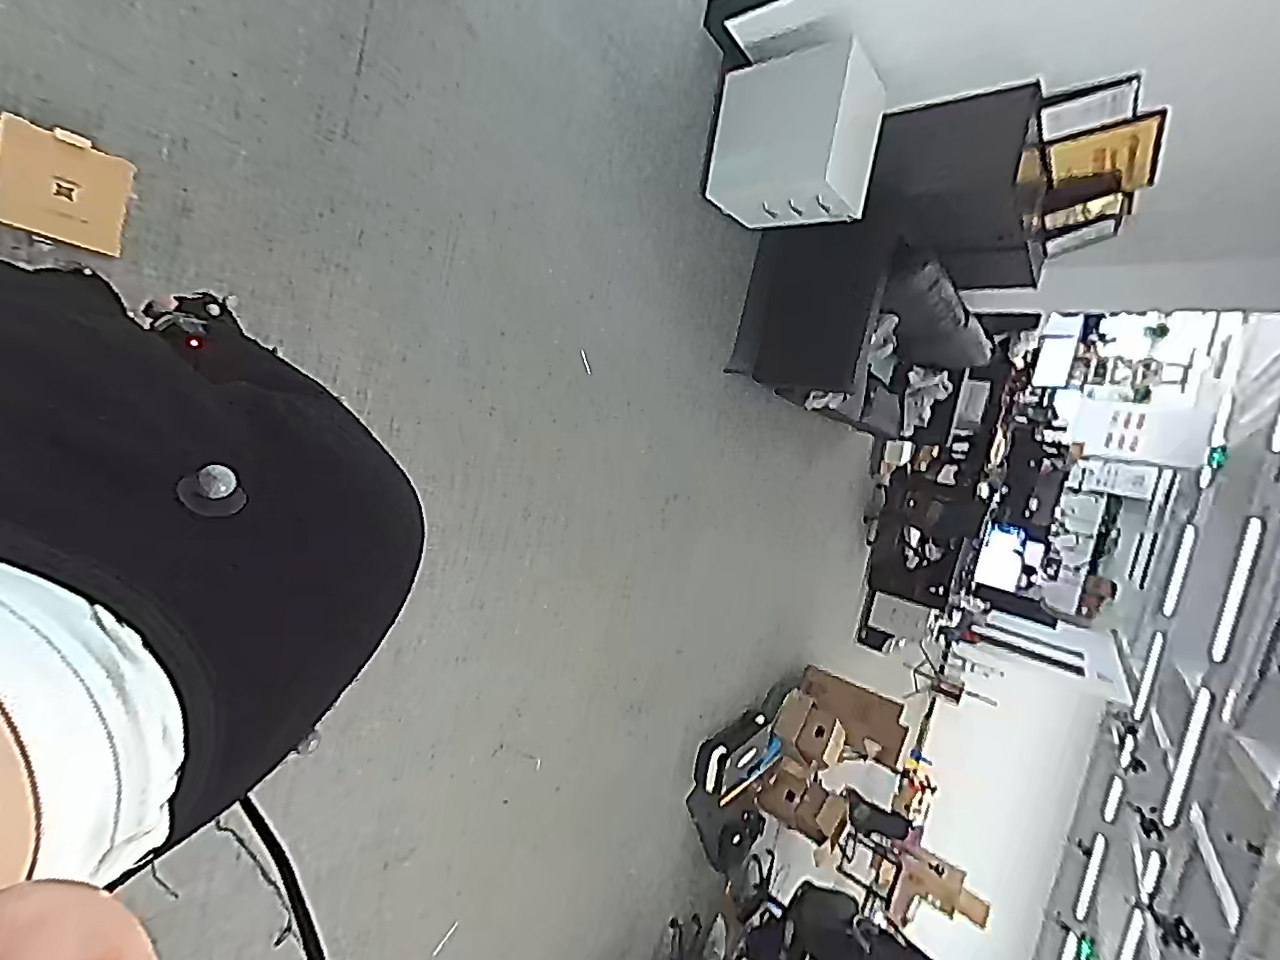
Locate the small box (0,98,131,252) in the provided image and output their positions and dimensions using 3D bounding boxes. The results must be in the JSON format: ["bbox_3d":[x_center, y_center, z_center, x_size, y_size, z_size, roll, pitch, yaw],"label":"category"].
[{"bbox_3d":[-1.054,-0.532,0.971,0.168,0.176,0.179,12,93,-49],"label":"small box"}]
